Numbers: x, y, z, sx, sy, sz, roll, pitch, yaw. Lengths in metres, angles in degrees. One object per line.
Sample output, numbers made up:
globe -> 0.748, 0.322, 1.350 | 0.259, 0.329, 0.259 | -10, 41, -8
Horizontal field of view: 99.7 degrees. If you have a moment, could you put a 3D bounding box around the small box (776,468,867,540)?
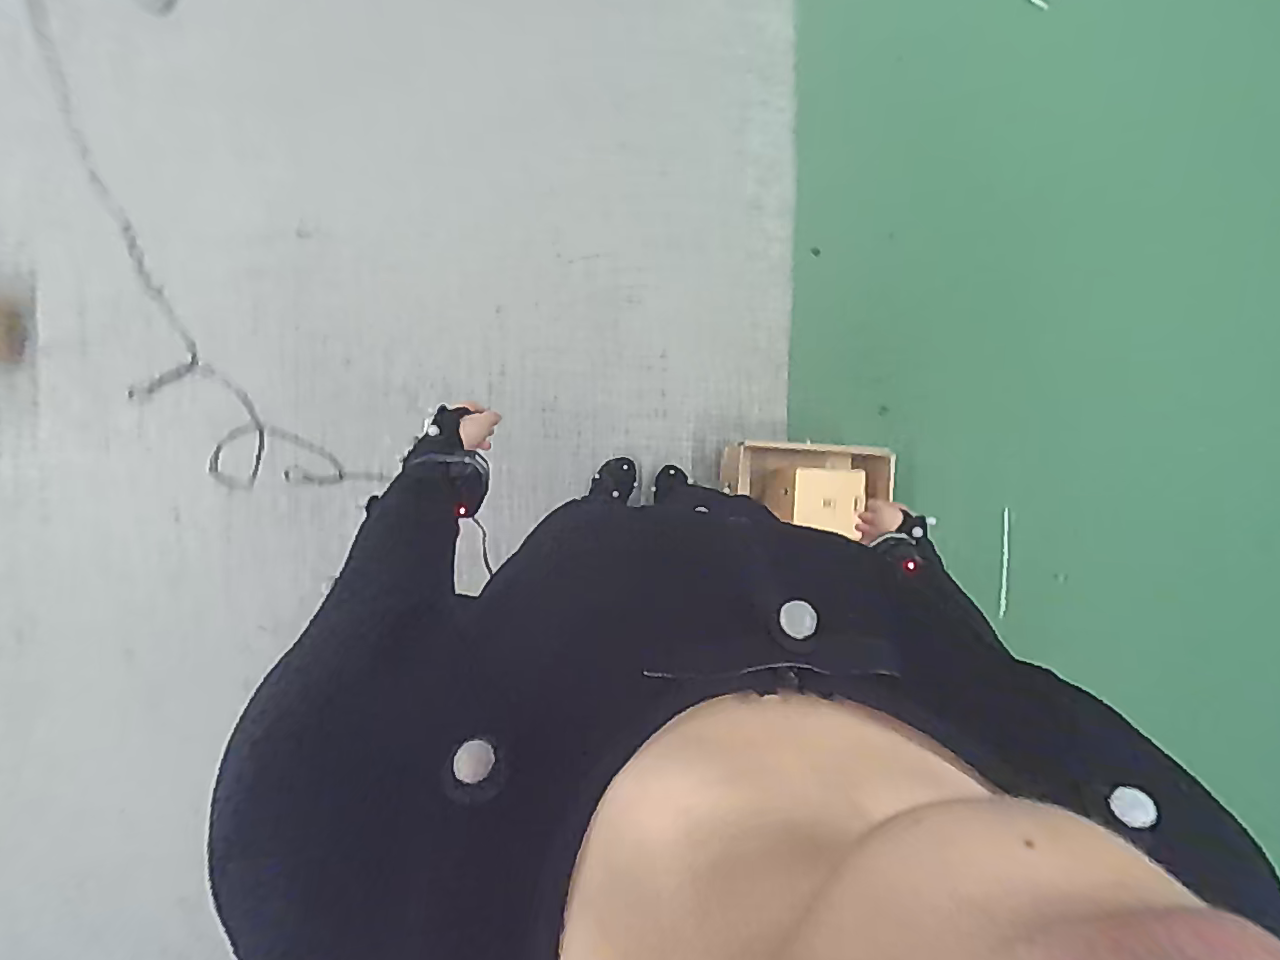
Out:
small box -> 0.456, 0.057, 1.384 | 0.179, 0.176, 0.168 | 3, 92, -2

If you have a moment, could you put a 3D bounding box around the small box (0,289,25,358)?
small box -> -1.663, -0.394, 1.310 | 0.179, 0.176, 0.168 | -1, 91, -4
